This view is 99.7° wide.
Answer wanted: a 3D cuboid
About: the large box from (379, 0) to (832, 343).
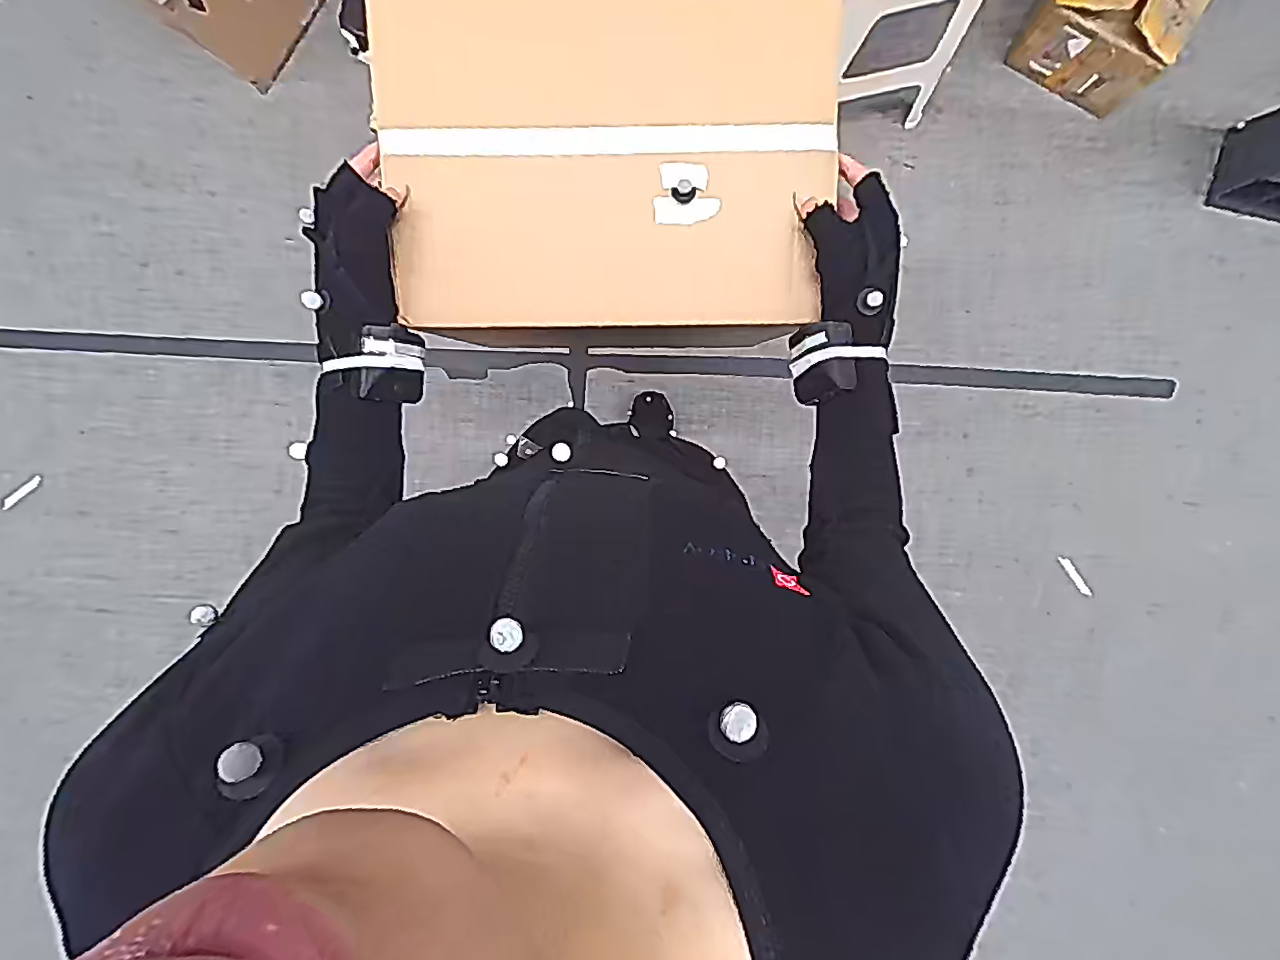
[{"bbox_3d":[-0.031,-0.338,0.636,0.408,0.320,0.320,-1,100,-1],"label":"large box"}]
